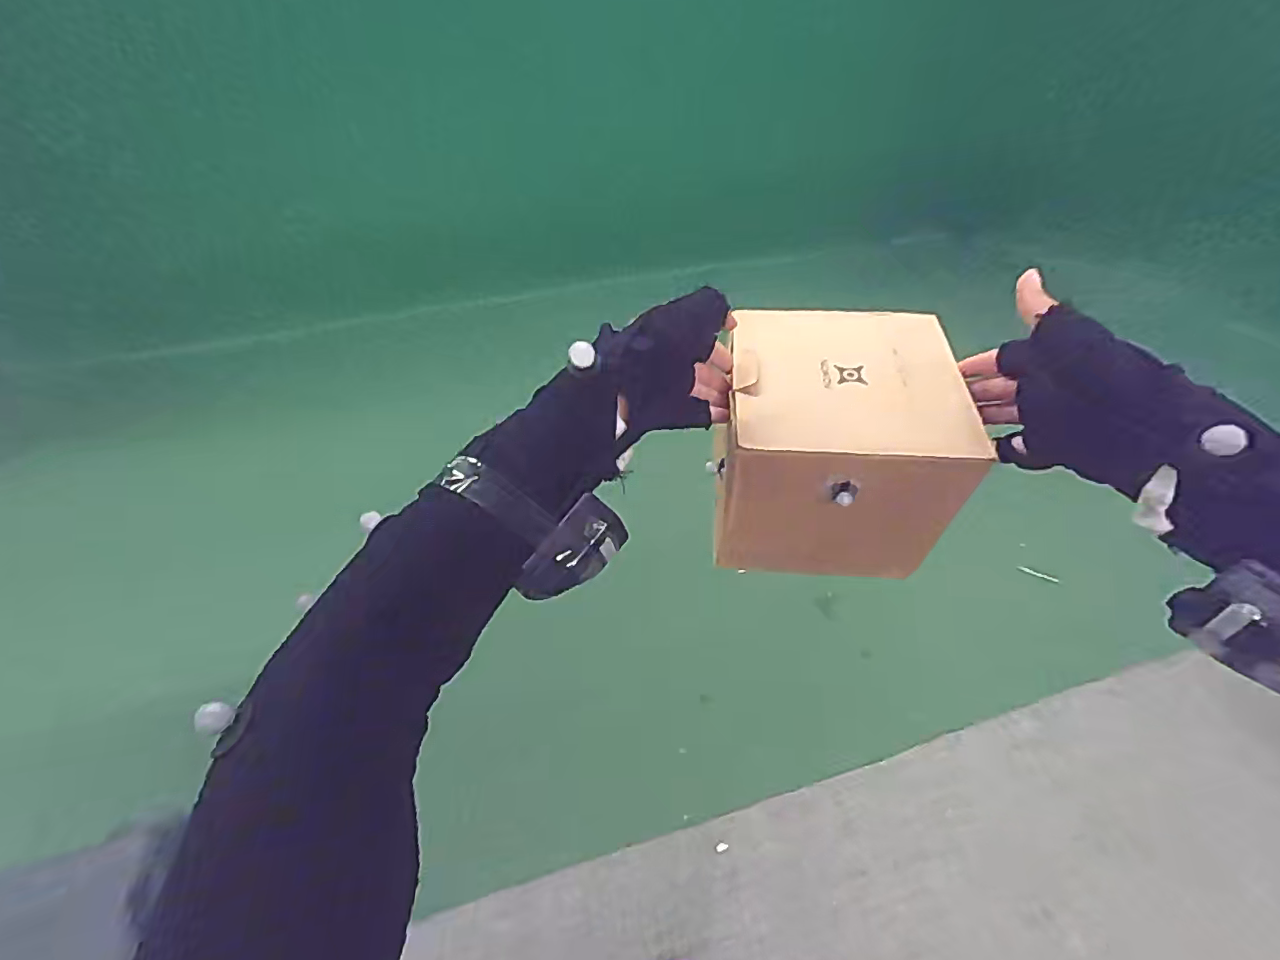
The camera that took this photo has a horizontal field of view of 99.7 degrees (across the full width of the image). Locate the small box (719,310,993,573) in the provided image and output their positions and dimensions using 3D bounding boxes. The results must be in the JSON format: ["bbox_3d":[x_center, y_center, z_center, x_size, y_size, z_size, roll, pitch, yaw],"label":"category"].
[{"bbox_3d":[0.164,-0.031,0.484,0.179,0.176,0.168,4,51,4],"label":"small box"}]
